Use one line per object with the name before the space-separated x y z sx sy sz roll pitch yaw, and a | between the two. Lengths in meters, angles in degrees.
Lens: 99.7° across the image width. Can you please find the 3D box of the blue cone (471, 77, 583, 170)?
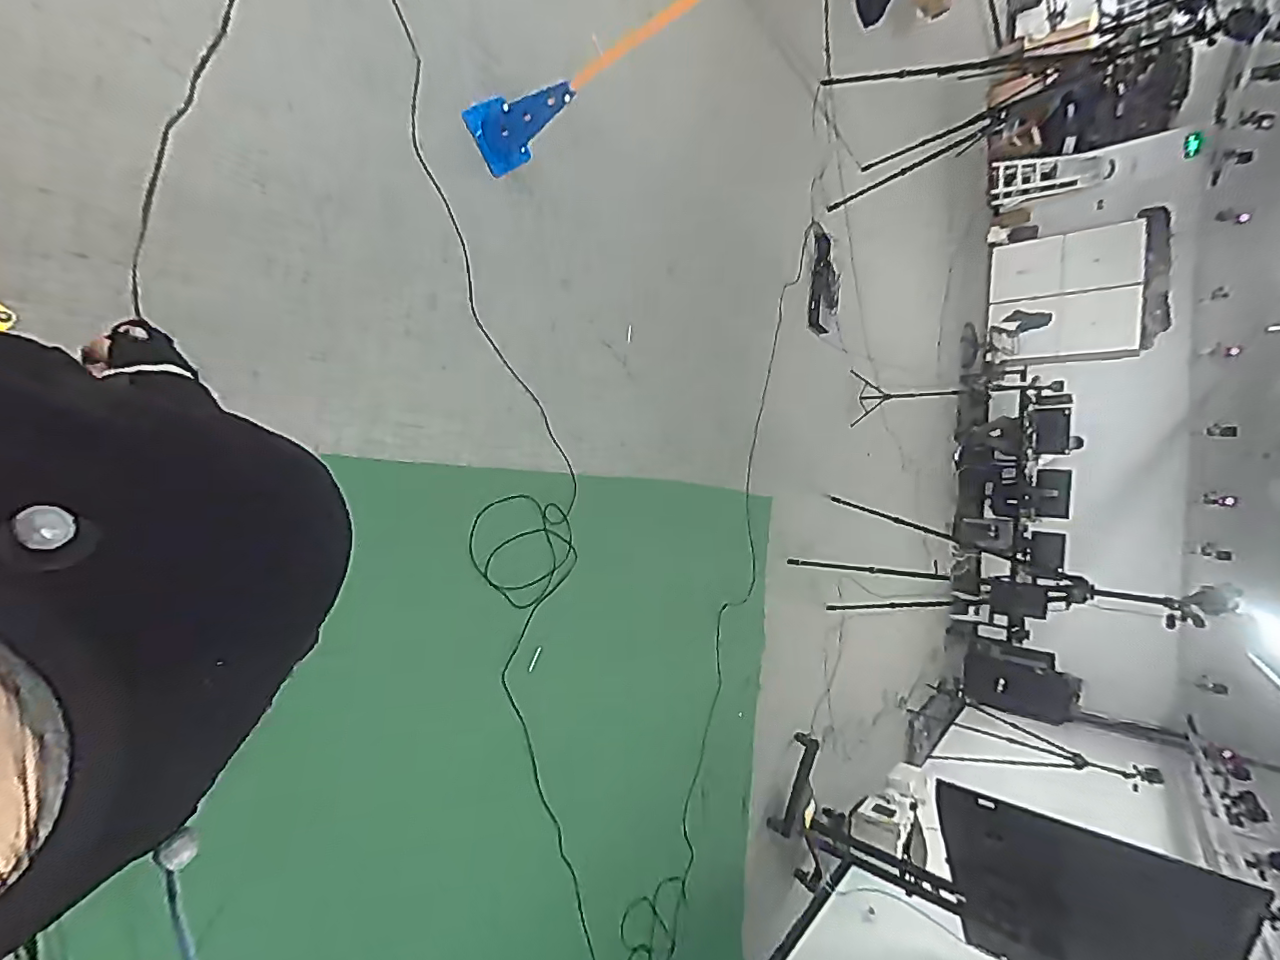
blue cone | -0.321 -1.132 1.648 0.193 0.380 0.192 -56 130 -34
